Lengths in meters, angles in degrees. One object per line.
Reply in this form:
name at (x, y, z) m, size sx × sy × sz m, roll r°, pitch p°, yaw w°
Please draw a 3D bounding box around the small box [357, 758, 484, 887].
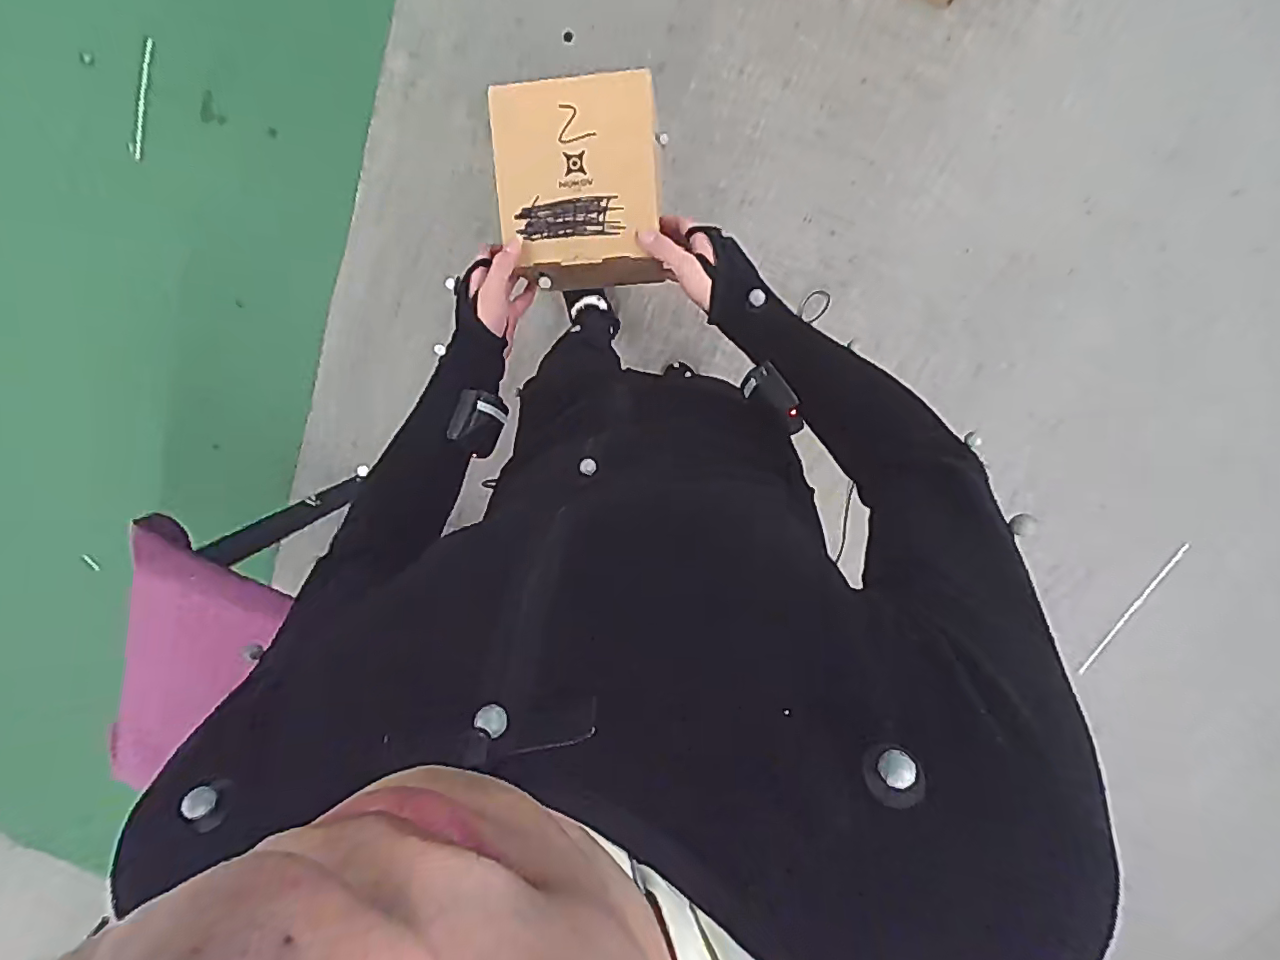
small box at (-0.427, 0.693, 1.057) m, size 0.168 × 0.176 × 0.179 m, roll 21°, pitch 107°, yaw 0°
